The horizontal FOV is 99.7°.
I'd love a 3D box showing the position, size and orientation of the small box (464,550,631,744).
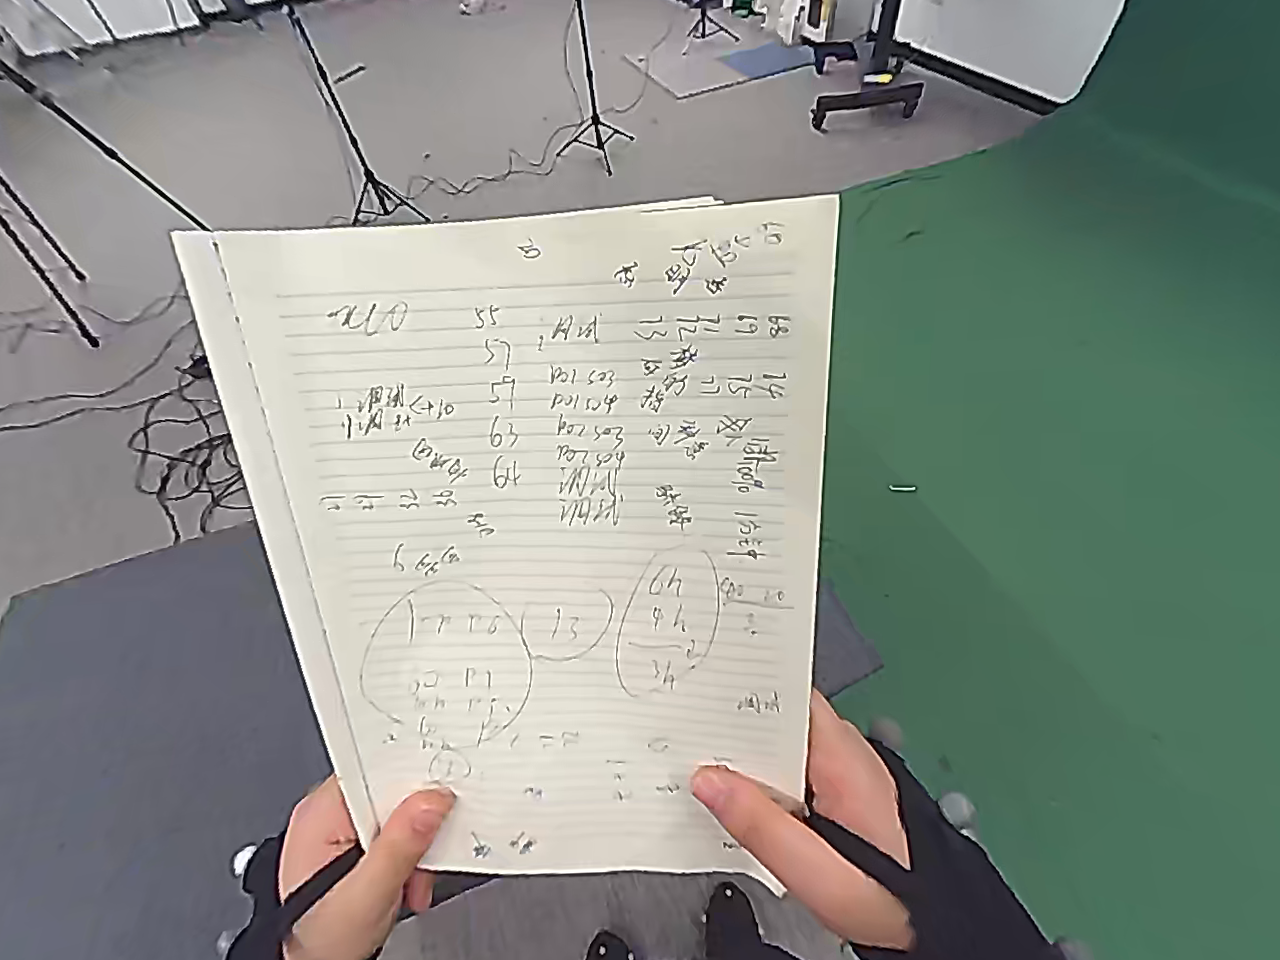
[{"bbox_3d":[-0.106,0.213,0.682,0.168,0.176,0.179,-8,52,1],"label":"small box"}]
